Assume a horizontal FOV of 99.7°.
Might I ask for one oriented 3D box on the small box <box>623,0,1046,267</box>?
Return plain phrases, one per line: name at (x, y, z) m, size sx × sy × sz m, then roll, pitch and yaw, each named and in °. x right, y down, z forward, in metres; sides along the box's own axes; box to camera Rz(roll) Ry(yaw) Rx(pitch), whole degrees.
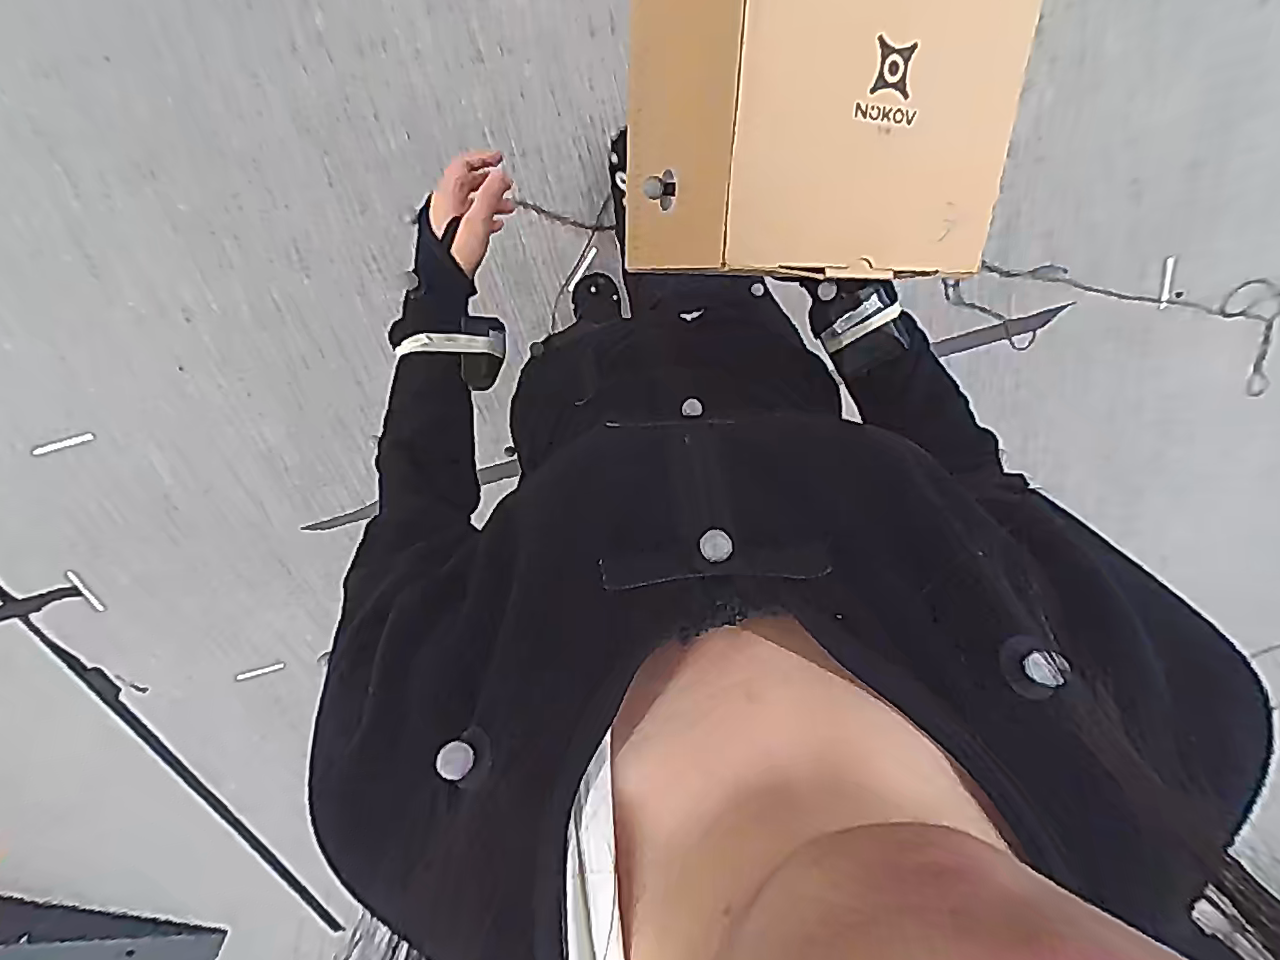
small box at (0.092, -0.223, 0.322) m, size 0.168 × 0.176 × 0.179 m, roll -6°, pitch 111°, yaw -18°
